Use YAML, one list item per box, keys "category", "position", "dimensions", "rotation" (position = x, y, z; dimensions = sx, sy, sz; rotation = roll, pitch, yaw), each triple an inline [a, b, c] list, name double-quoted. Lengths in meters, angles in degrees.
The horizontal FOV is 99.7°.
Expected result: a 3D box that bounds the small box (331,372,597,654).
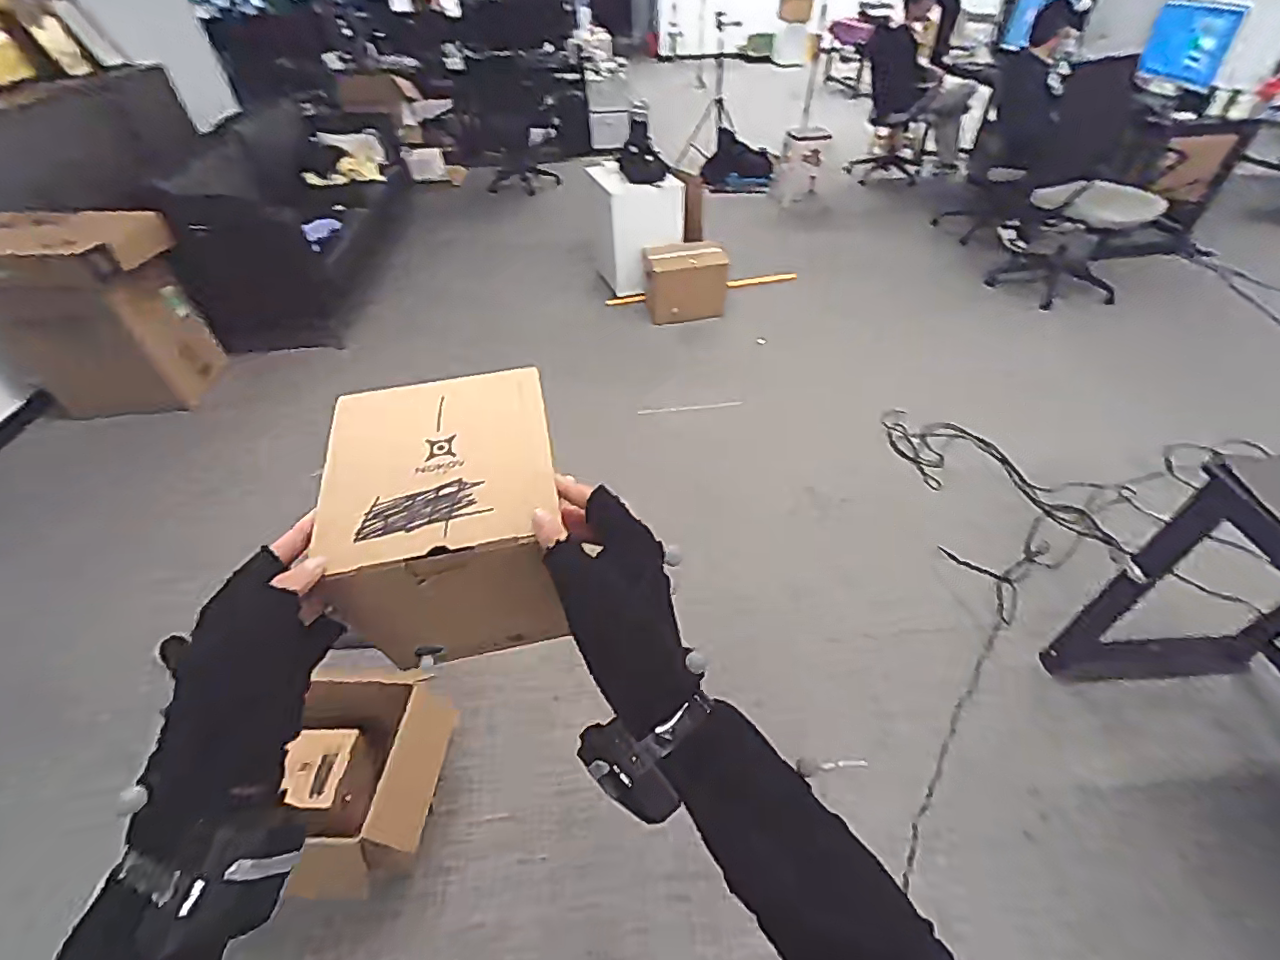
- category: "small box"
  position: [-0.134, 0.035, 0.471]
  dimensions: [0.168, 0.176, 0.179]
  rotation: [-10, 50, -6]
